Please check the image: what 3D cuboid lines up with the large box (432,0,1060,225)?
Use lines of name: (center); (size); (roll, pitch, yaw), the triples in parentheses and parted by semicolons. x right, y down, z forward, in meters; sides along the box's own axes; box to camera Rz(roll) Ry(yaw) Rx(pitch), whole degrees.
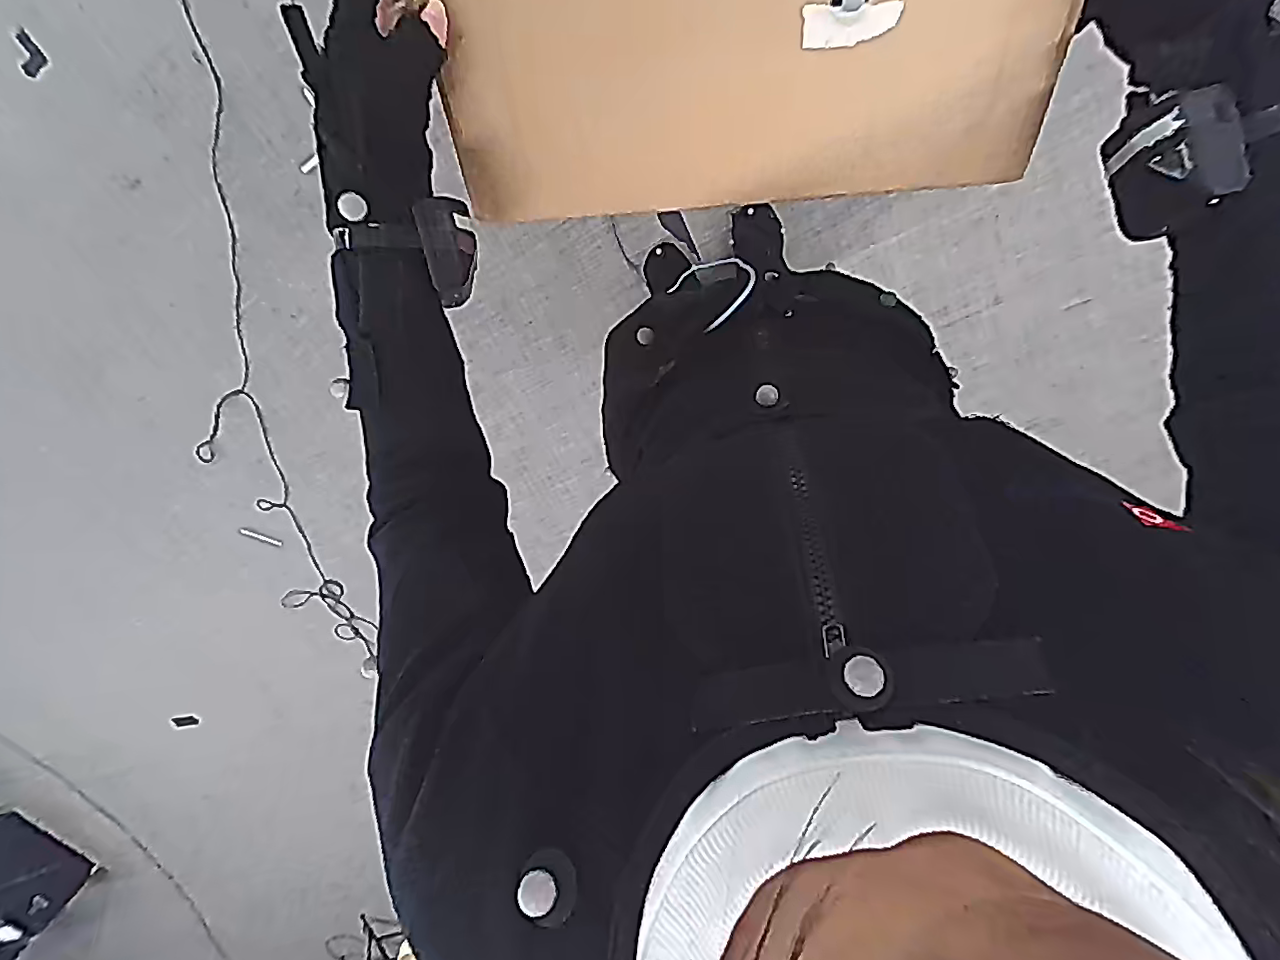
large box: (0.065, -0.431, 0.431); (0.408, 0.320, 0.320); (-3, 132, 6)
